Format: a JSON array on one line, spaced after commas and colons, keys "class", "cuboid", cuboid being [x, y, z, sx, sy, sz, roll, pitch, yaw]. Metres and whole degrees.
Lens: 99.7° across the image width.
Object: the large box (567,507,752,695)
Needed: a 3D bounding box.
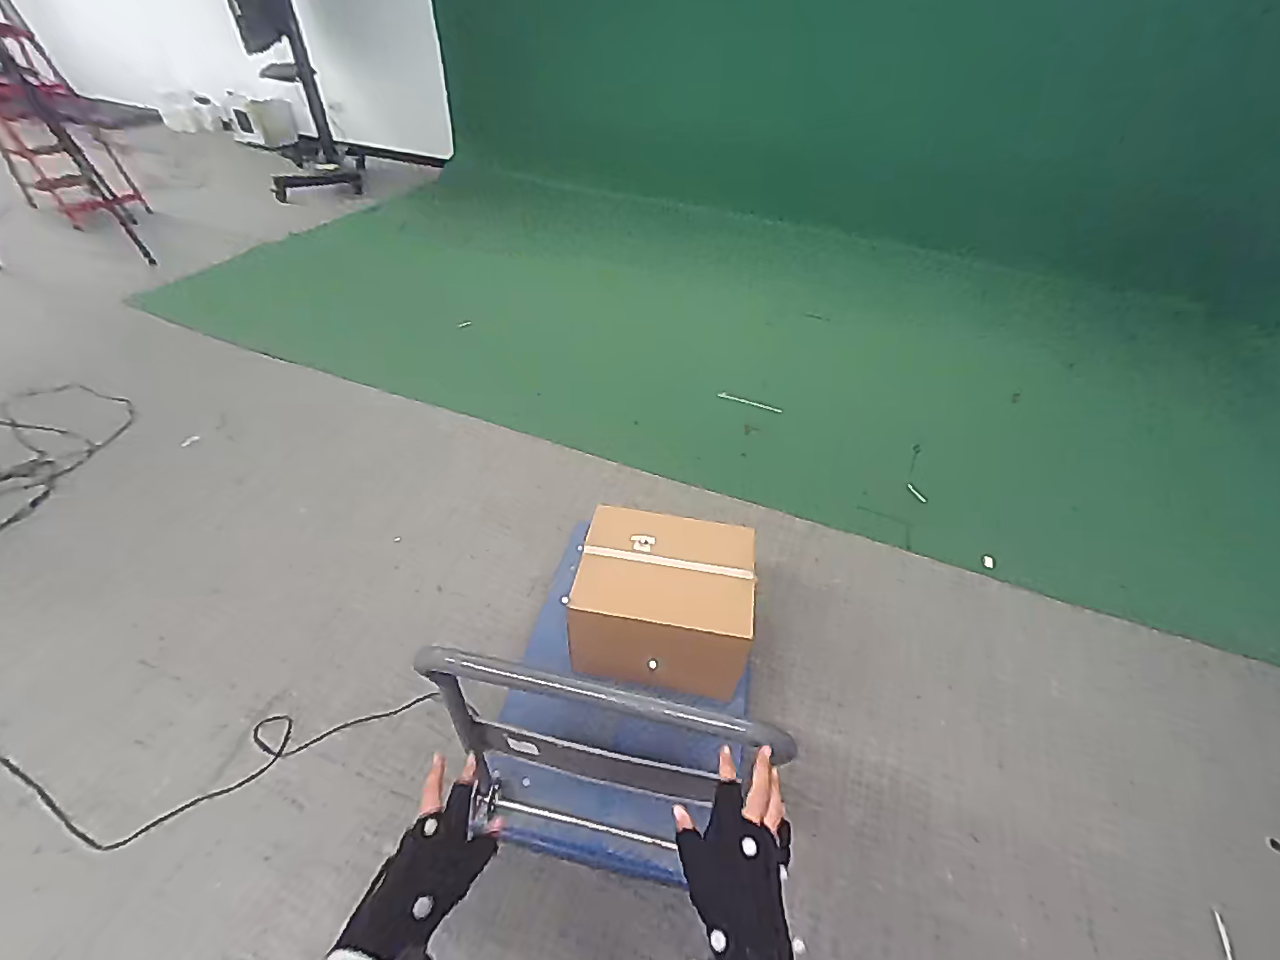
[{"class": "large box", "cuboid": [0.058, 0.304, 1.362, 0.408, 0.320, 0.320, 8, 44, 6]}]
